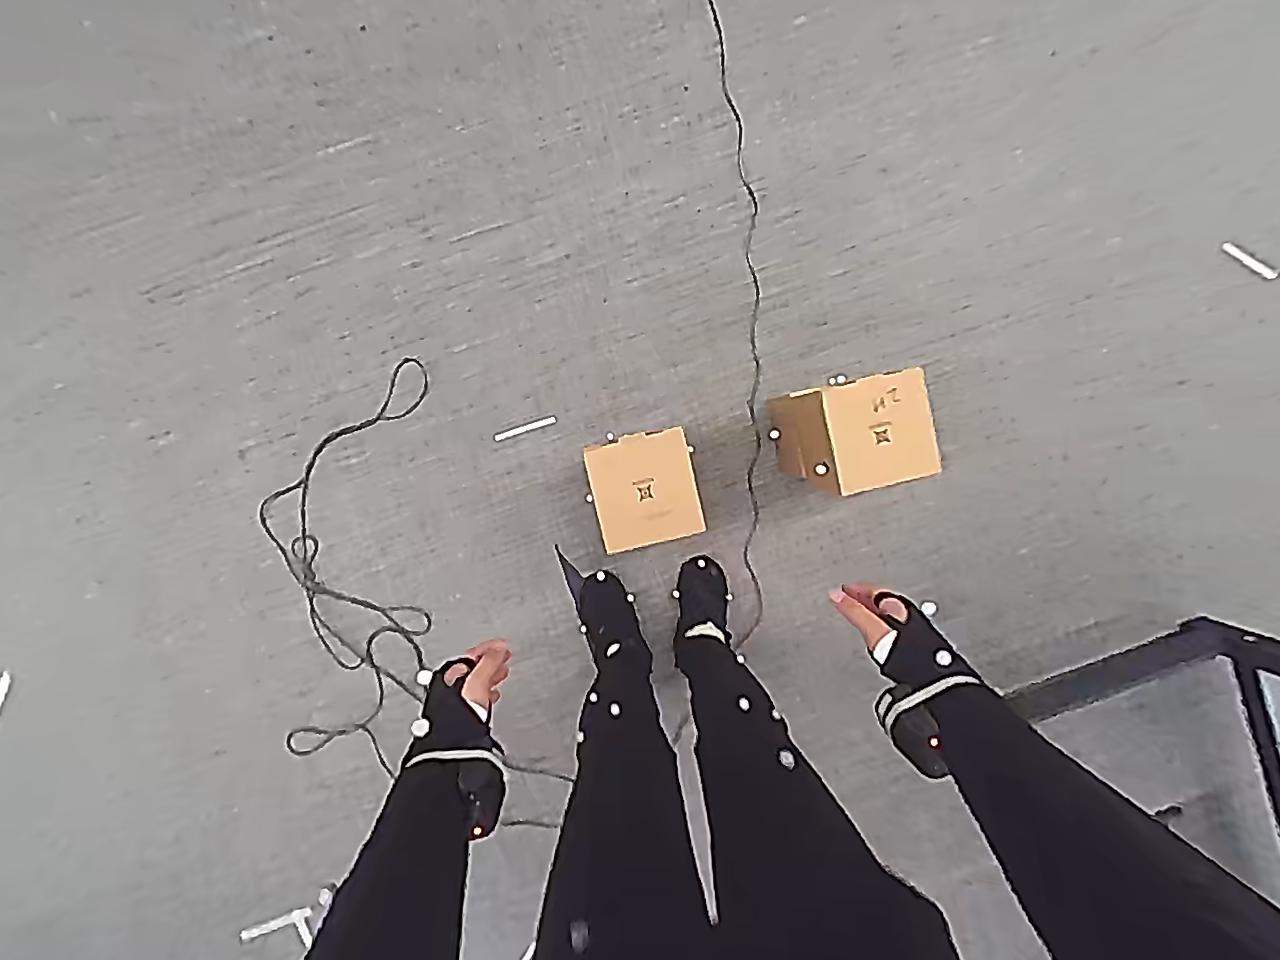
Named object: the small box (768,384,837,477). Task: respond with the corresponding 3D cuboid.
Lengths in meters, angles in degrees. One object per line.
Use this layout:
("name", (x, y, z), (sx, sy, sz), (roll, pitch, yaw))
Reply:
("small box", (0.376, -0.106, 1.098), (0.179, 0.176, 0.168), (-11, 94, 0))

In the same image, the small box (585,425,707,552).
("small box", (0.008, 0.009, 0.938), (0.168, 0.176, 0.179), (-14, 95, 1))

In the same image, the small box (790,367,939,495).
("small box", (0.377, -0.083, 0.934), (0.168, 0.176, 0.179), (-14, 94, -1))
